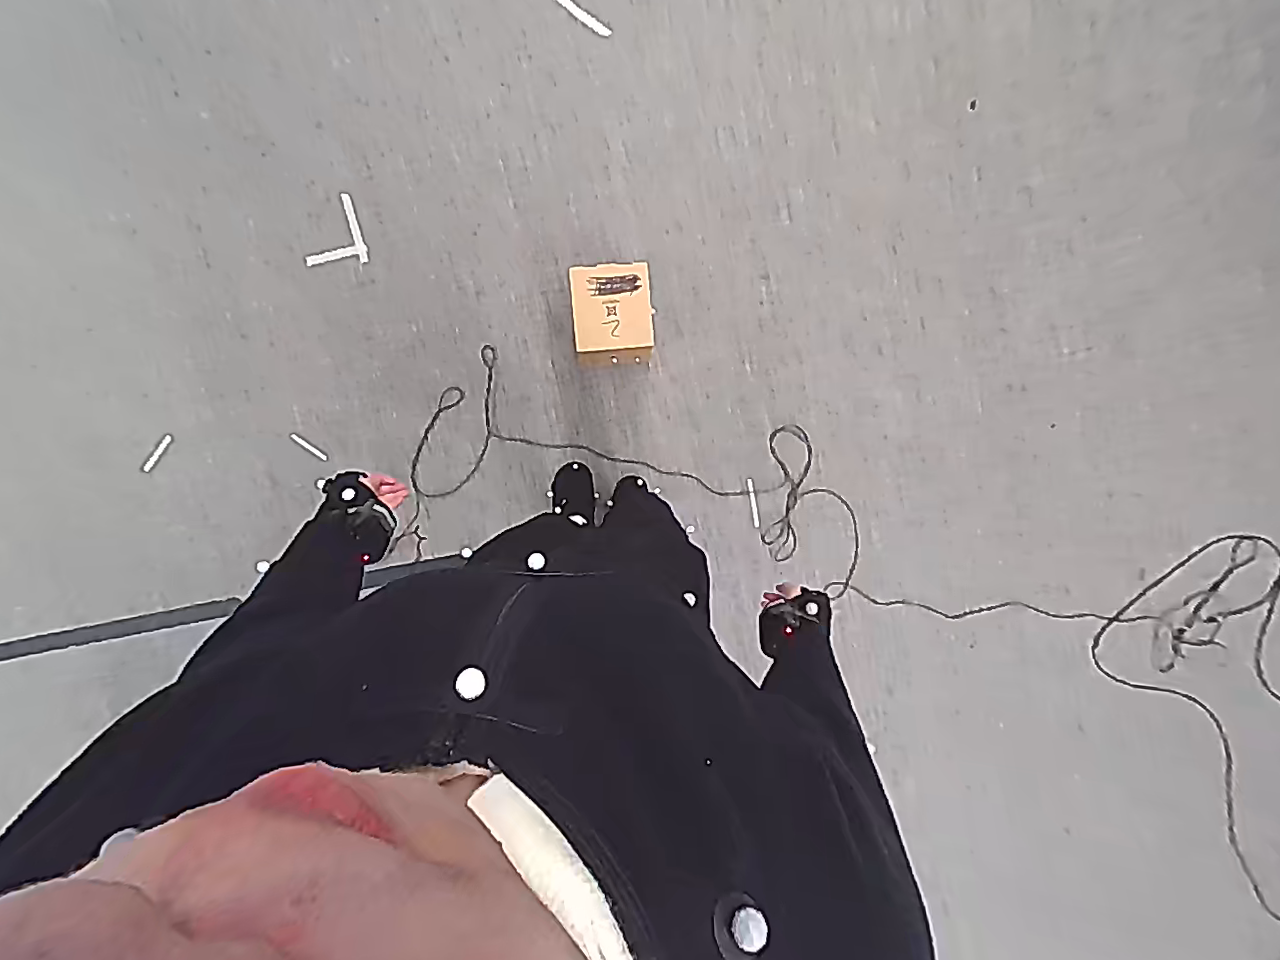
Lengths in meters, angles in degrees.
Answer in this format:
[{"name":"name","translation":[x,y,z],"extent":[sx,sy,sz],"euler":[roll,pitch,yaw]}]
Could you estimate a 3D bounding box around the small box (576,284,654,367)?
[{"name":"small box","translation":[-0.060,-0.384,1.371],"extent":[0.179,0.176,0.168],"euler":[-6,96,-1]}]
